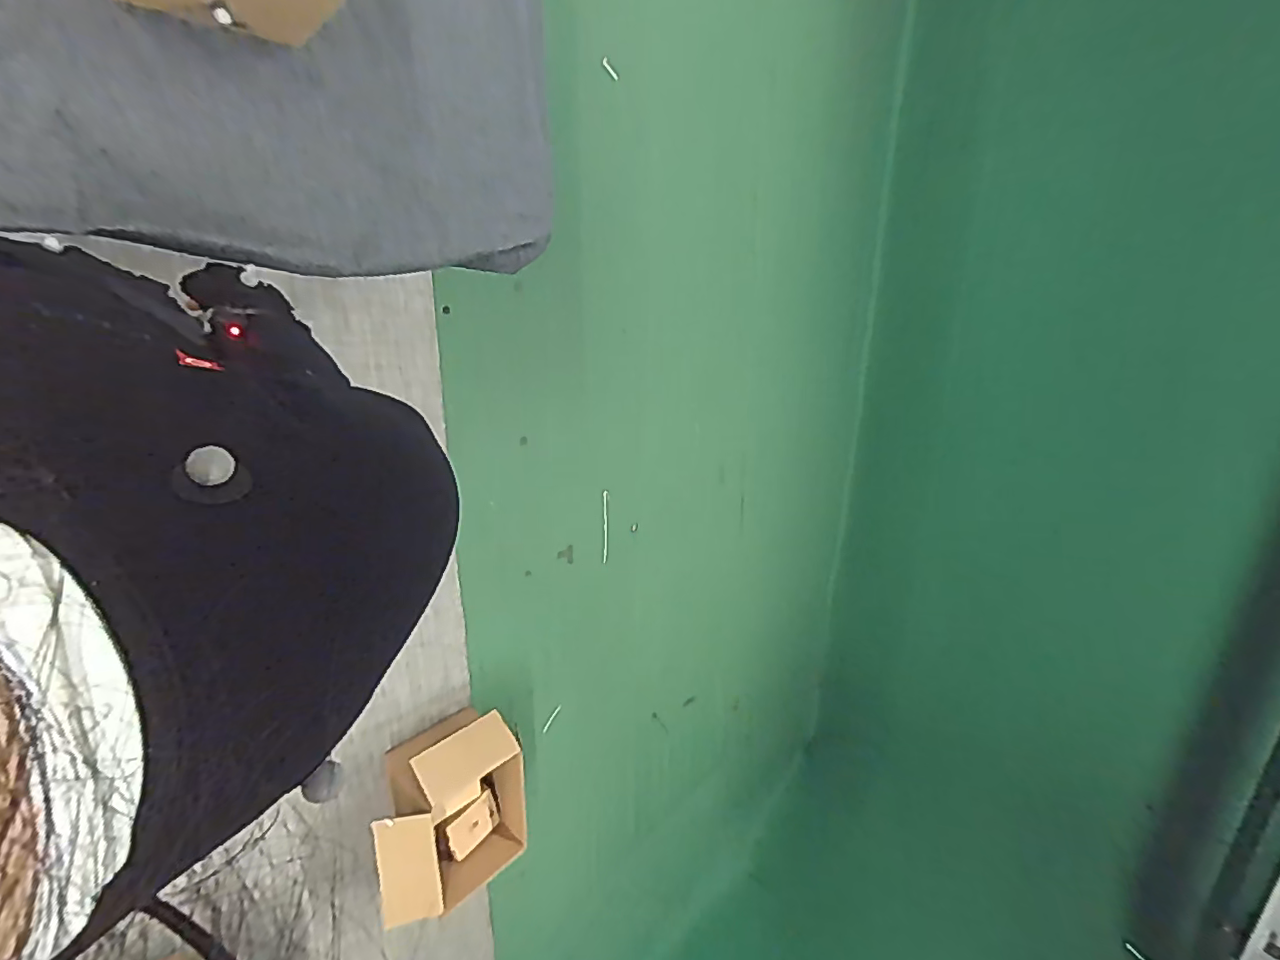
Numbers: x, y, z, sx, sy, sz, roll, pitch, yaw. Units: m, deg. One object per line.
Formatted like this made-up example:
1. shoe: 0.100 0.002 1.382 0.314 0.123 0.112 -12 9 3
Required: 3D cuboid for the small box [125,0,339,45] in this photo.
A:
1. small box: -0.394 -0.541 0.484 0.168 0.176 0.179 -19 116 -42
